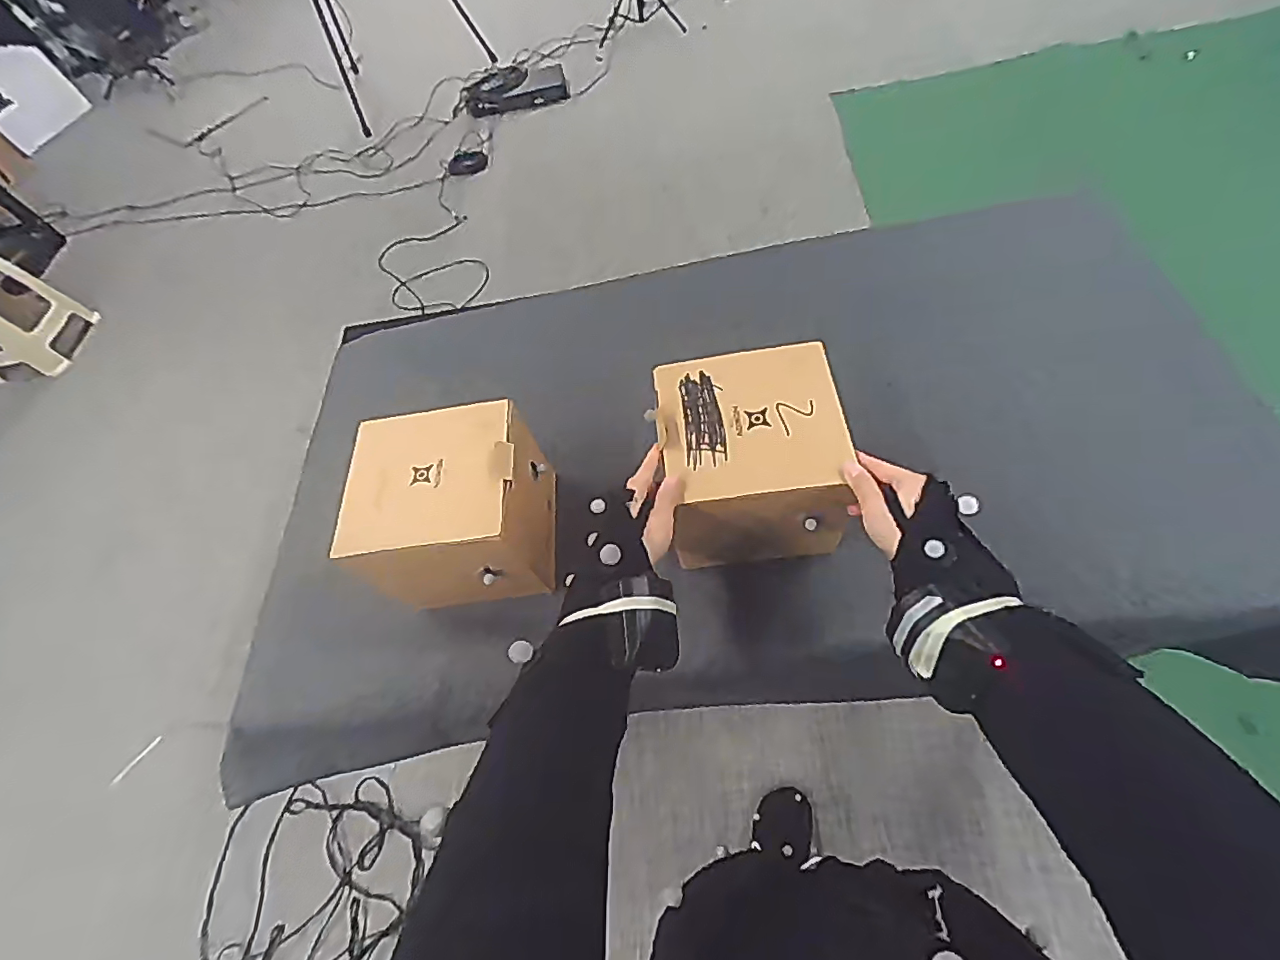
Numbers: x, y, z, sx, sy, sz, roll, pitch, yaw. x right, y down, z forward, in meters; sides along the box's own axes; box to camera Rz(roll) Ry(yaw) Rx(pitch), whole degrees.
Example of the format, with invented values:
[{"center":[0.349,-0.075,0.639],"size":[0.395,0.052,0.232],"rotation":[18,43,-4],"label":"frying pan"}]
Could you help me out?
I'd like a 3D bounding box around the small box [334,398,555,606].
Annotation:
[{"center":[-0.201,0.033,0.615],"size":[0.179,0.176,0.168],"rotation":[-9,59,6],"label":"small box"}]
